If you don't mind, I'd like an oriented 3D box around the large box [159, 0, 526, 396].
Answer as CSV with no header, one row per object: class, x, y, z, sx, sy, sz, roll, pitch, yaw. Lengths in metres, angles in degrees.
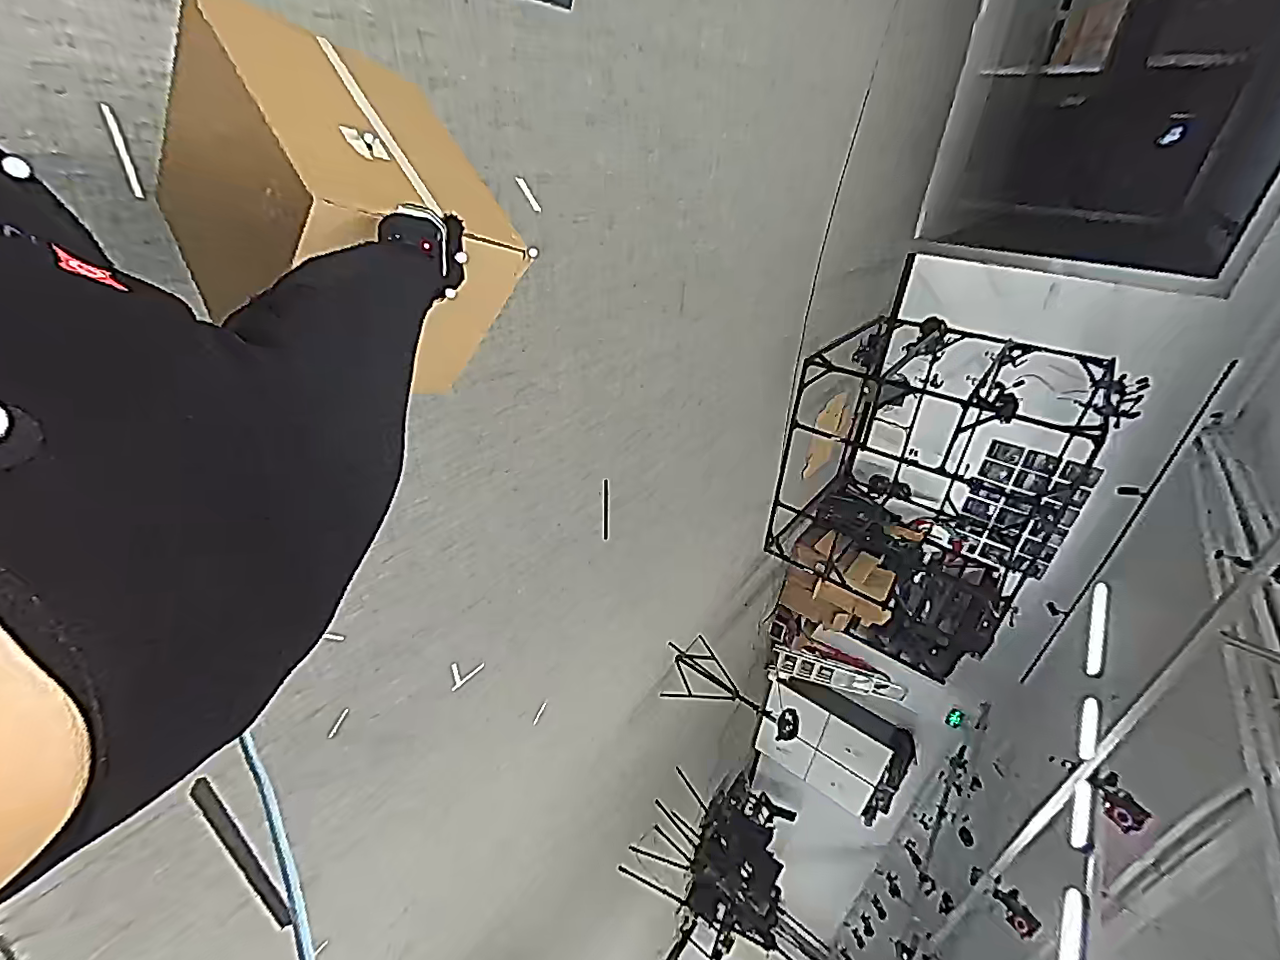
large box,-0.459,-0.381,0.830,0.320,0.408,0.320,-42,164,33
